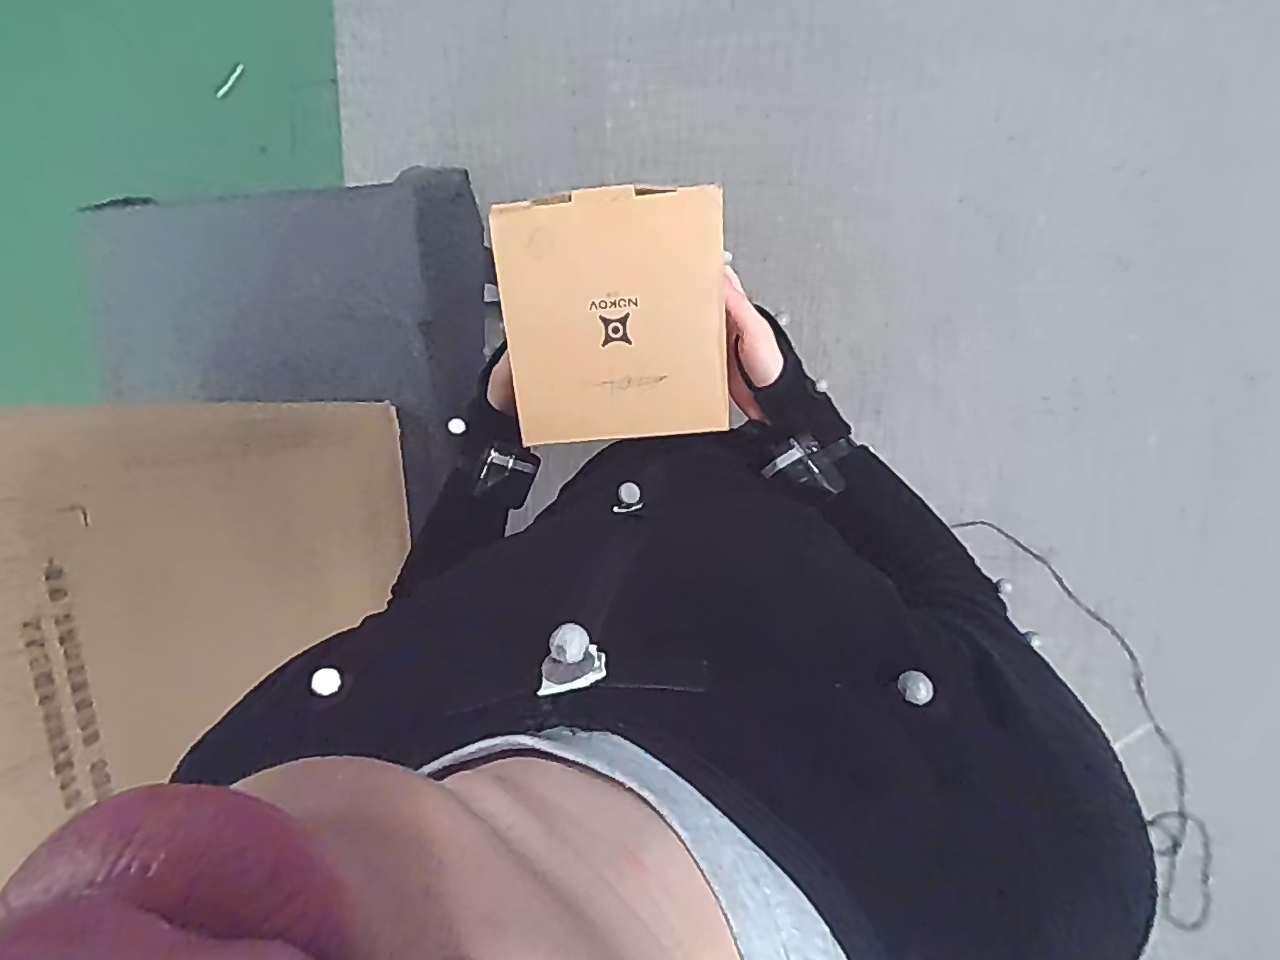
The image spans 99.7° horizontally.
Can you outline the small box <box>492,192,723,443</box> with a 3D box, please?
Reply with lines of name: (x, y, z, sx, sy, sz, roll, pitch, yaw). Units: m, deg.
small box: (-0.020, -0.141, 0.480, 0.168, 0.176, 0.179, -3, 110, 1)
